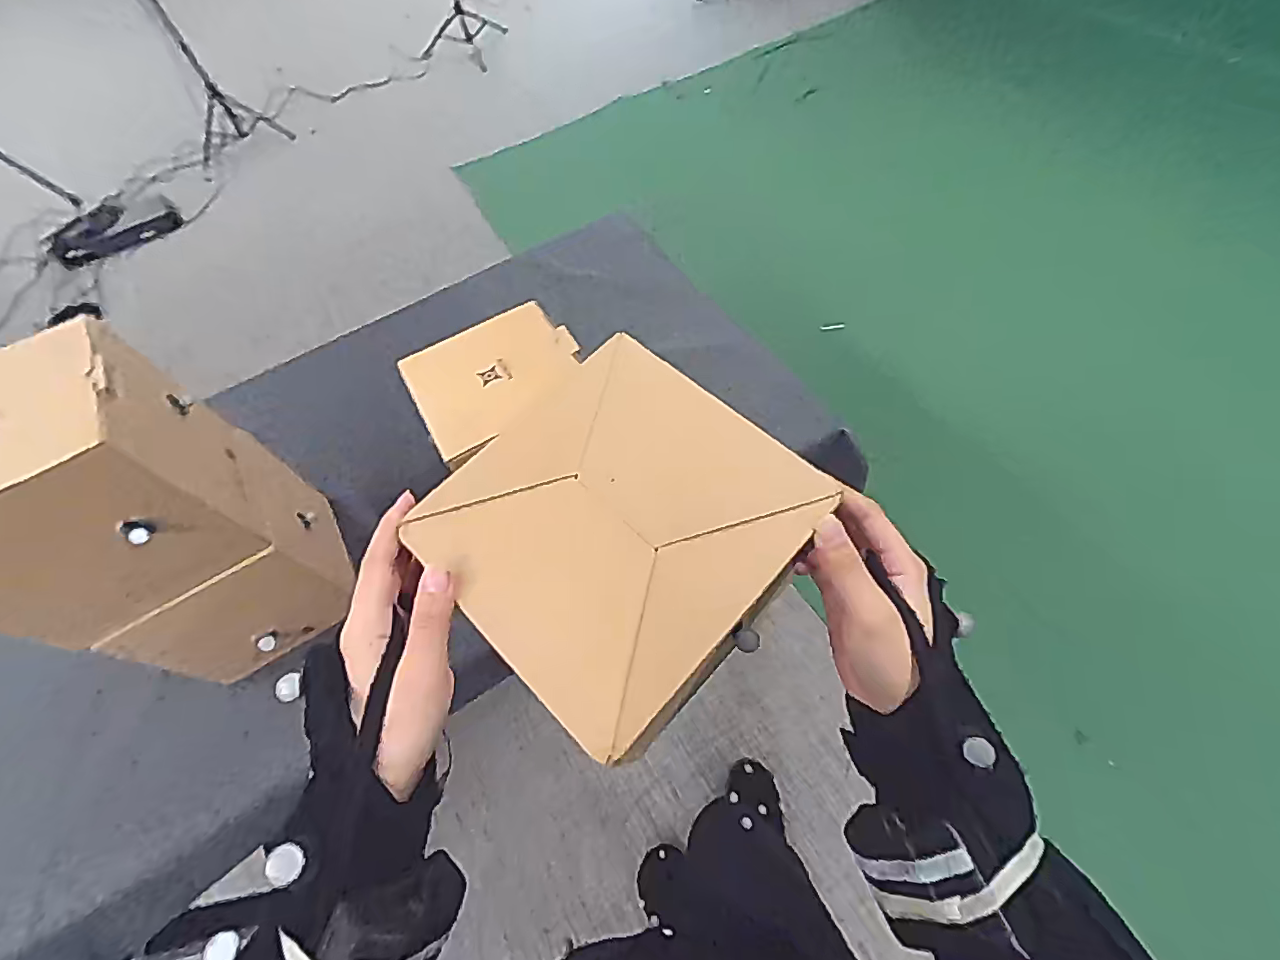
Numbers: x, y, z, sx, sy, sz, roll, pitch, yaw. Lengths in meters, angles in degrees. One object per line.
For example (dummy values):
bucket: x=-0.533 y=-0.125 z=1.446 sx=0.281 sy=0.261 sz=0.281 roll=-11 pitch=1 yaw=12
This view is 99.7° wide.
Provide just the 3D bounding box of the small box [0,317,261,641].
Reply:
small box: x=-0.462 y=0.005 z=0.457 sx=0.179 sy=0.176 sz=0.168 roll=-33 pitch=60 yaw=-12

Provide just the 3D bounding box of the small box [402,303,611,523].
small box: x=-0.154 y=-0.076 z=0.666 sx=0.179 sy=0.176 sz=0.168 roll=-29 pitch=60 yaw=-12

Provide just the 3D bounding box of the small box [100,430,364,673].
small box: x=-0.443 y=0.084 z=0.598 sx=0.168 sy=0.176 sz=0.179 roll=-31 pitch=62 yaw=-12
